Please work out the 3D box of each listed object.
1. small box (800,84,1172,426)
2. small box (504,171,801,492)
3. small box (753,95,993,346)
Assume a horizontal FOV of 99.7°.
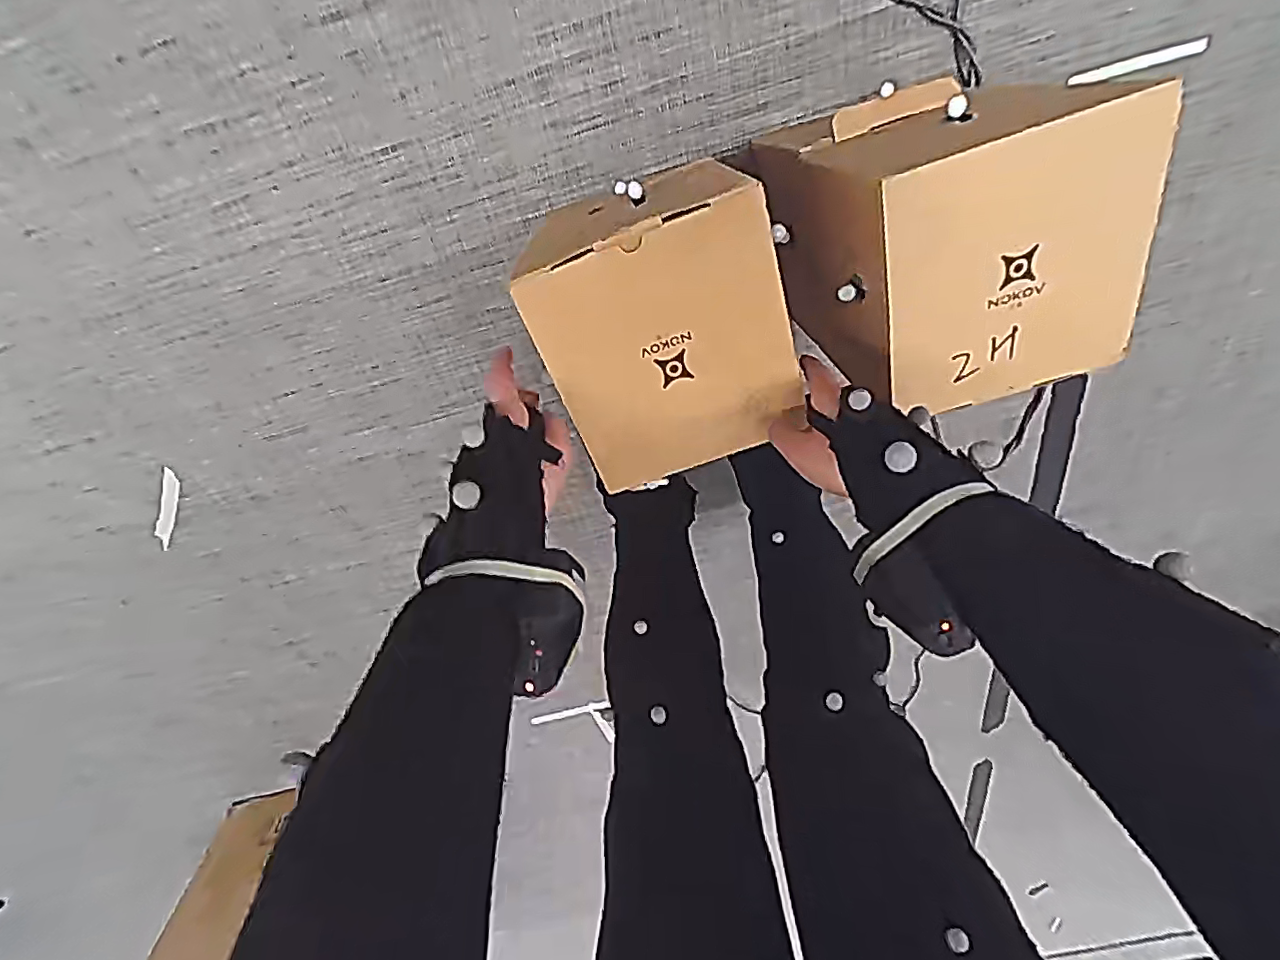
[{"bbox_3d":[0.233,-0.173,0.417,0.168,0.176,0.179,-15,124,7],"label":"small box"},{"bbox_3d":[0.015,-0.124,0.438,0.168,0.176,0.179,-18,123,8],"label":"small box"},{"bbox_3d":[0.222,-0.265,0.553,0.168,0.176,0.179,-14,125,6],"label":"small box"}]
